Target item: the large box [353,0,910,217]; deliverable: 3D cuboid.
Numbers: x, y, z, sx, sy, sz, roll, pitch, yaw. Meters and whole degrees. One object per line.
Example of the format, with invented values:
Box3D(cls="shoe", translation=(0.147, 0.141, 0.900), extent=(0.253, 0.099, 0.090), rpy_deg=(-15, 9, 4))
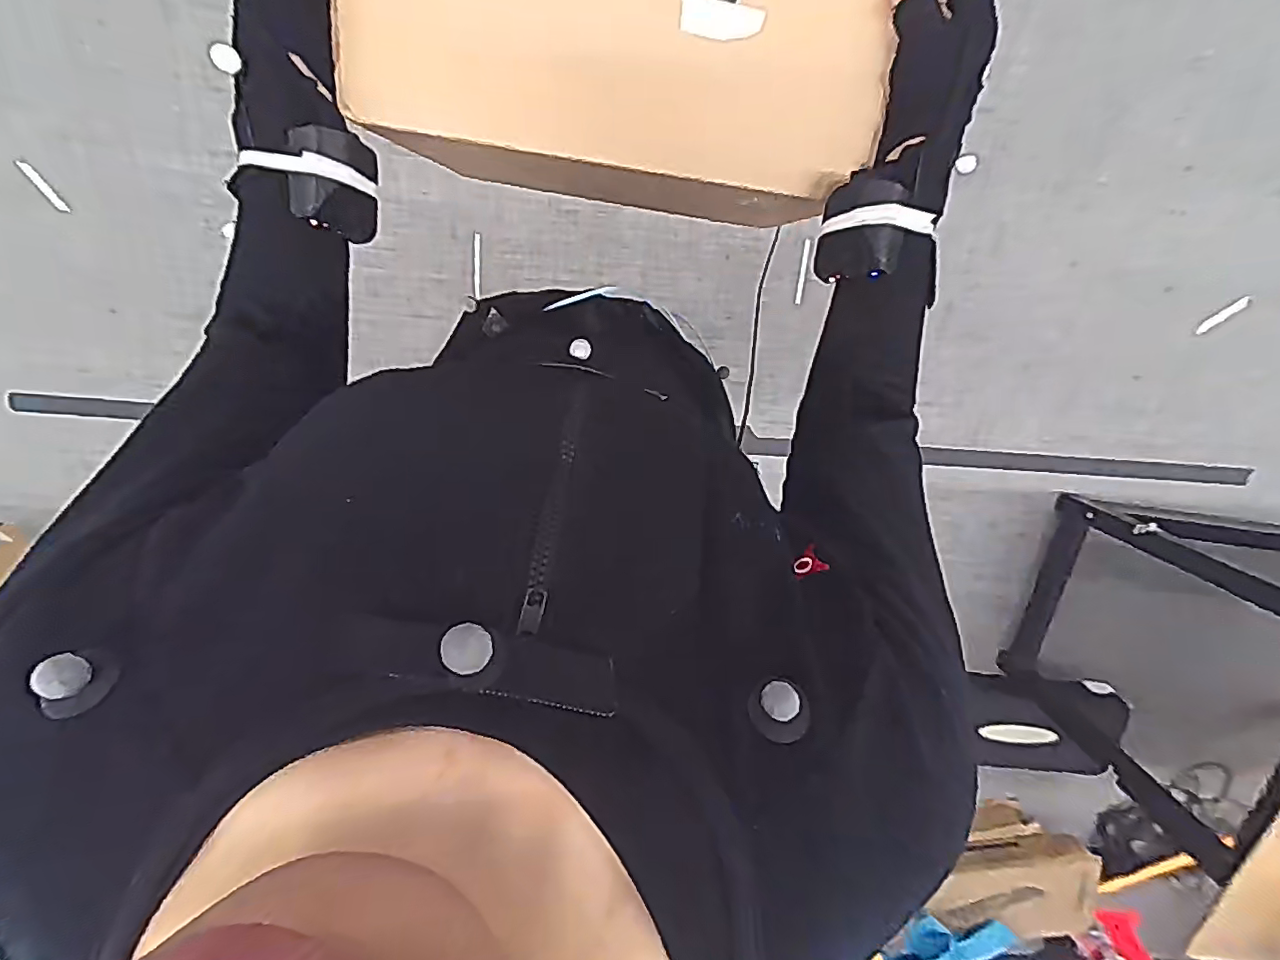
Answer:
Box3D(cls="large box", translation=(-0.002, -0.451, 0.504), extent=(0.408, 0.320, 0.320), rpy_deg=(7, 113, -5))
